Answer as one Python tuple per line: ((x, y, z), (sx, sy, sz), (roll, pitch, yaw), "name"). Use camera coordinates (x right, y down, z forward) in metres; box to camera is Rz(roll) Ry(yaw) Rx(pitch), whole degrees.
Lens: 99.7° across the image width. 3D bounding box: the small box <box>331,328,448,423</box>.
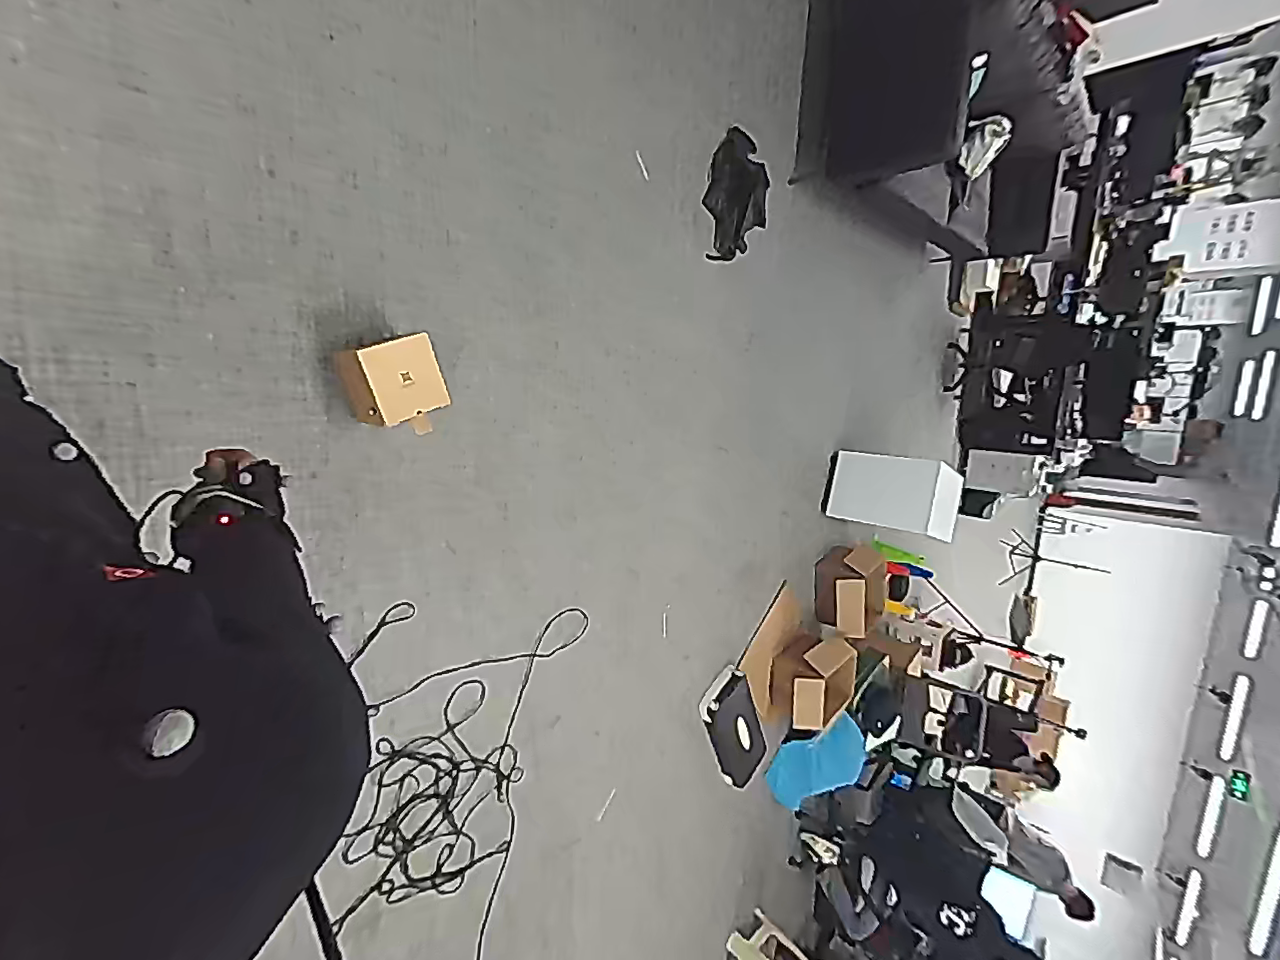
((-0.588, -0.247, 1.268), (0.168, 0.176, 0.179), (-33, 122, -38), "small box")
